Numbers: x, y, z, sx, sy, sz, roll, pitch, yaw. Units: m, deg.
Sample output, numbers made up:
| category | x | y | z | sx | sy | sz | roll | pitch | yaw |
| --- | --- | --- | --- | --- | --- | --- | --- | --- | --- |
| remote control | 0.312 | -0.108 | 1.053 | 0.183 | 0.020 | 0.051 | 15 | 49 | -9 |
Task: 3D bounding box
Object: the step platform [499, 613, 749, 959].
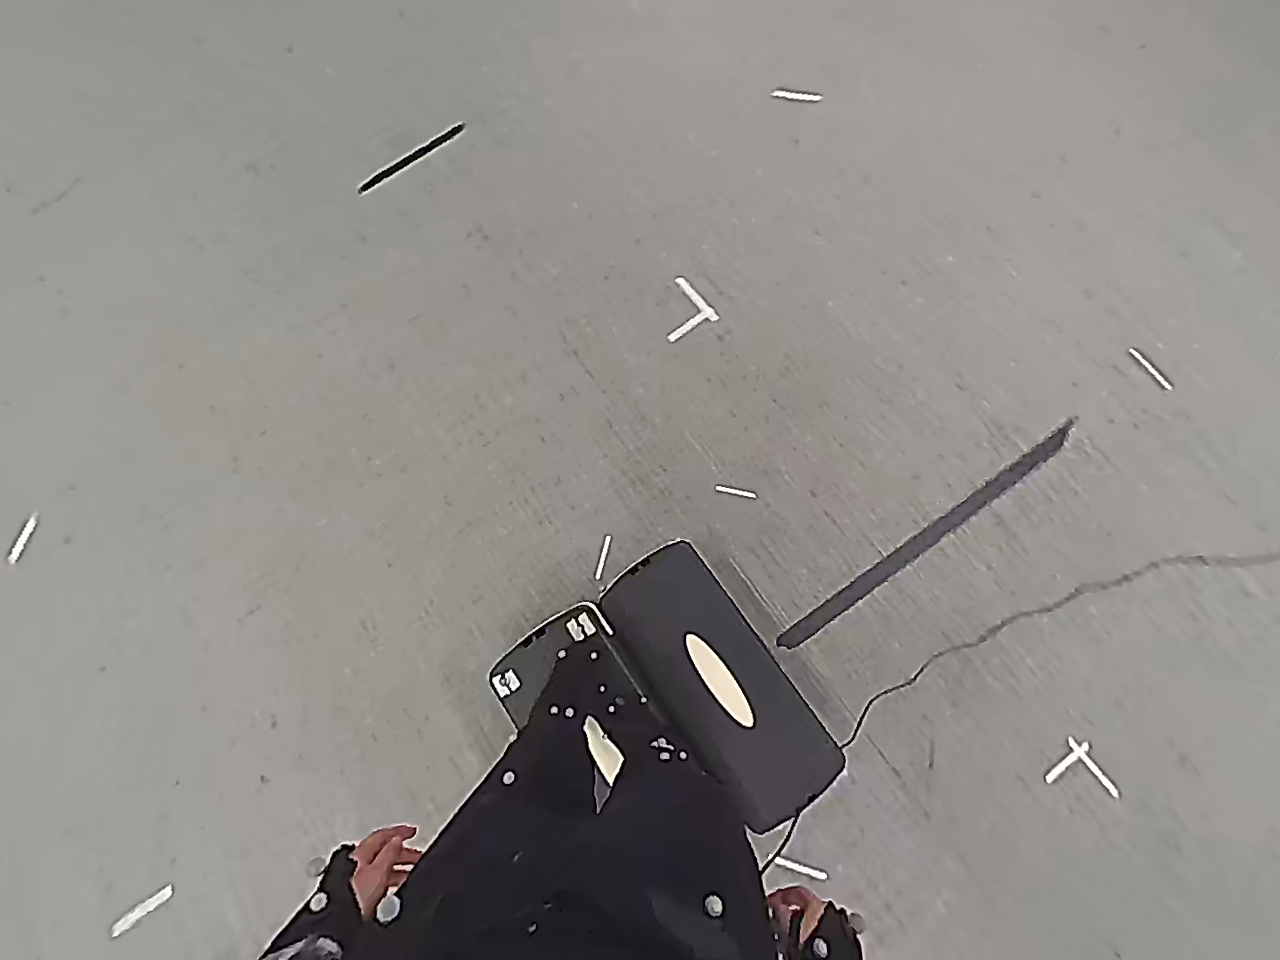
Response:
| category | x | y | z | sx | sy | sz | roll | pitch | yaw |
| --- | --- | --- | --- | --- | --- | --- | --- | --- | --- |
| step platform | -0.045 | 0.653 | 1.227 | 0.286 | 0.204 | 0.684 | -31 | 76 | -6 |
